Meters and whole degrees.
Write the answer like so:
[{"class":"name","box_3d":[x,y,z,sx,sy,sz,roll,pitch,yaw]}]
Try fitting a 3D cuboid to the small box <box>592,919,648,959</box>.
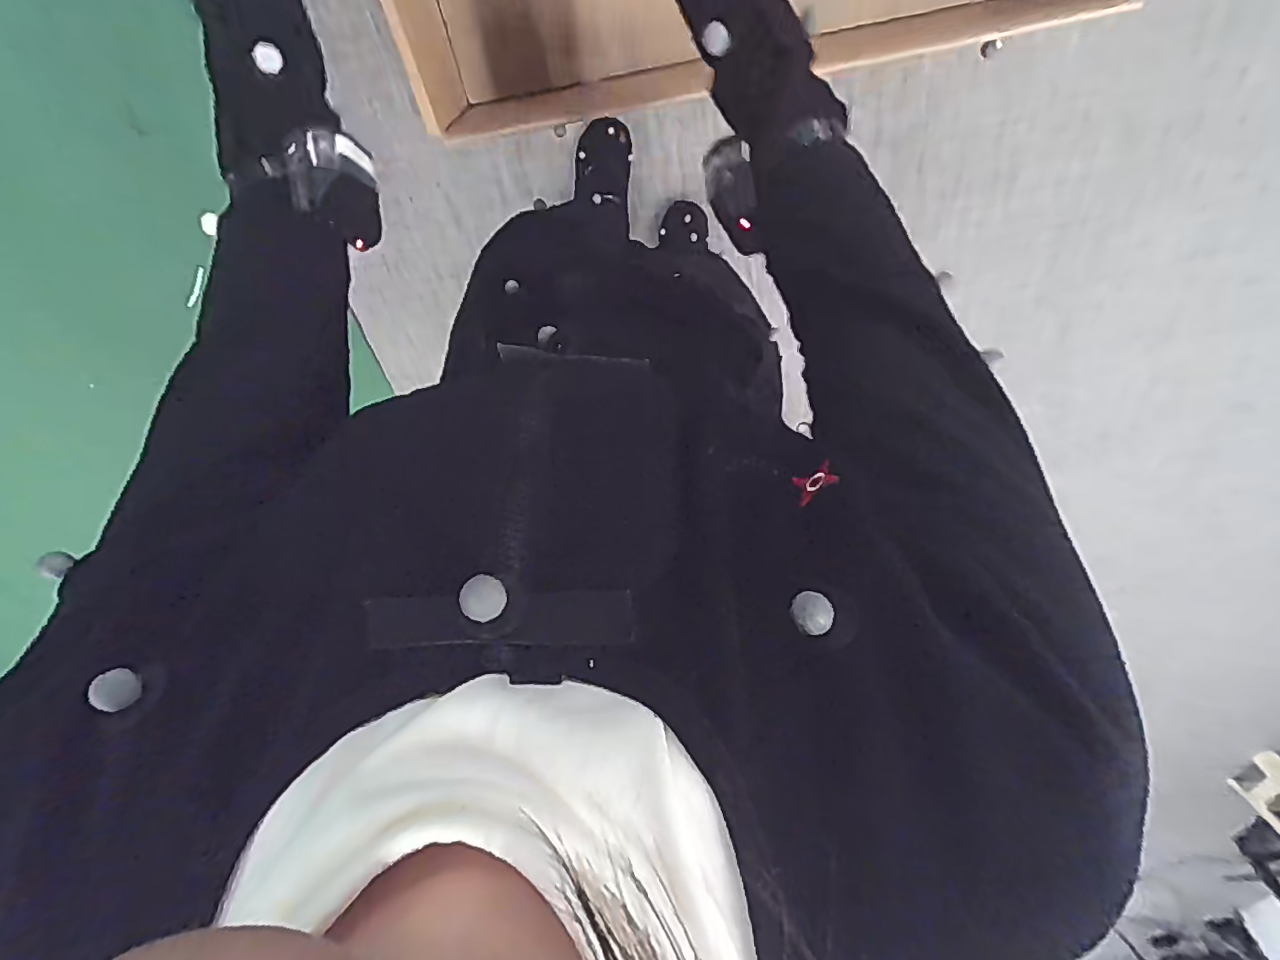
[{"class":"small box","box_3d":[-0.065,1.641,1.859,0.168,0.176,0.179,-10,126,5]}]
